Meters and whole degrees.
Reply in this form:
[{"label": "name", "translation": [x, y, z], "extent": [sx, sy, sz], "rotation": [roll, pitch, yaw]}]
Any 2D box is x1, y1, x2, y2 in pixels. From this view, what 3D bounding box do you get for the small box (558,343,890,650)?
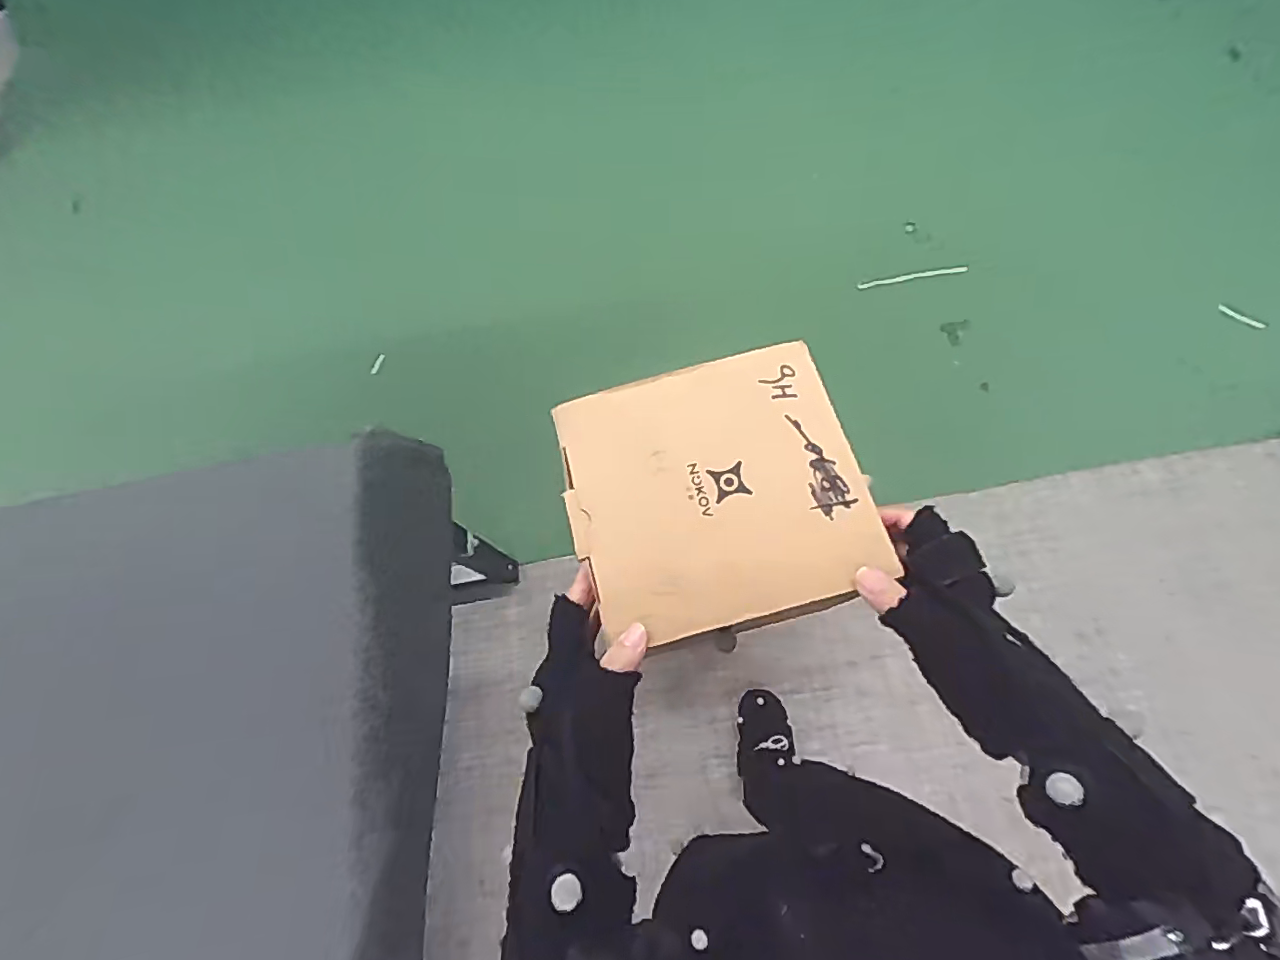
[{"label": "small box", "translation": [0.052, 0.028, 0.413], "extent": [0.179, 0.176, 0.168], "rotation": [-14, 70, 0]}]
